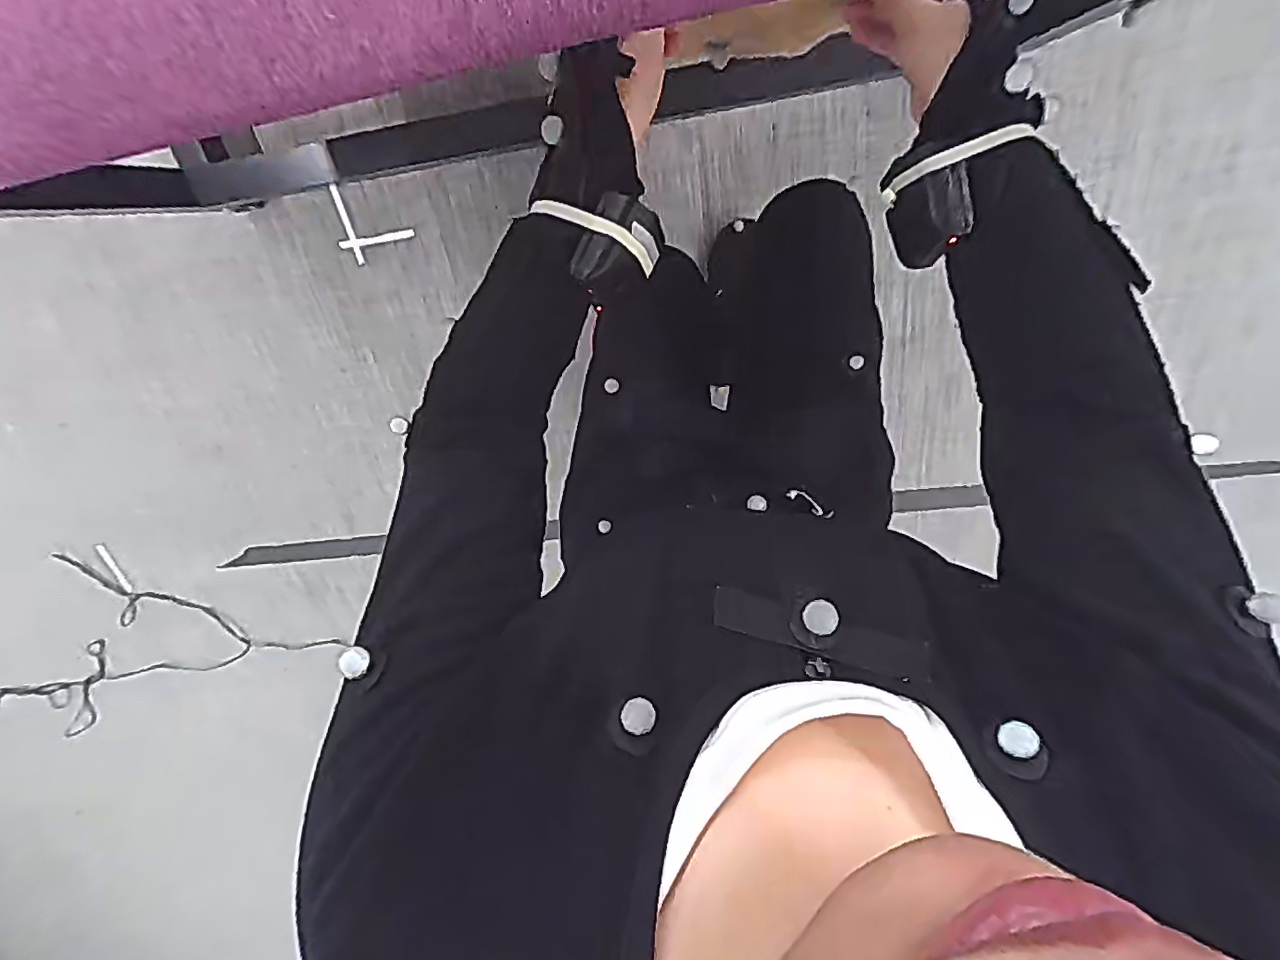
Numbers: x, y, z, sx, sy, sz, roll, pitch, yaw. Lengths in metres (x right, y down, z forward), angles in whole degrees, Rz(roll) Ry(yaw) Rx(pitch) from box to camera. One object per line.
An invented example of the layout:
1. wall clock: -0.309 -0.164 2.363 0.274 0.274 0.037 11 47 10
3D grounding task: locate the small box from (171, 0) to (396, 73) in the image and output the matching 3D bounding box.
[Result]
1. small box: -0.407 -0.584 0.593 0.168 0.176 0.179 -9 118 9
